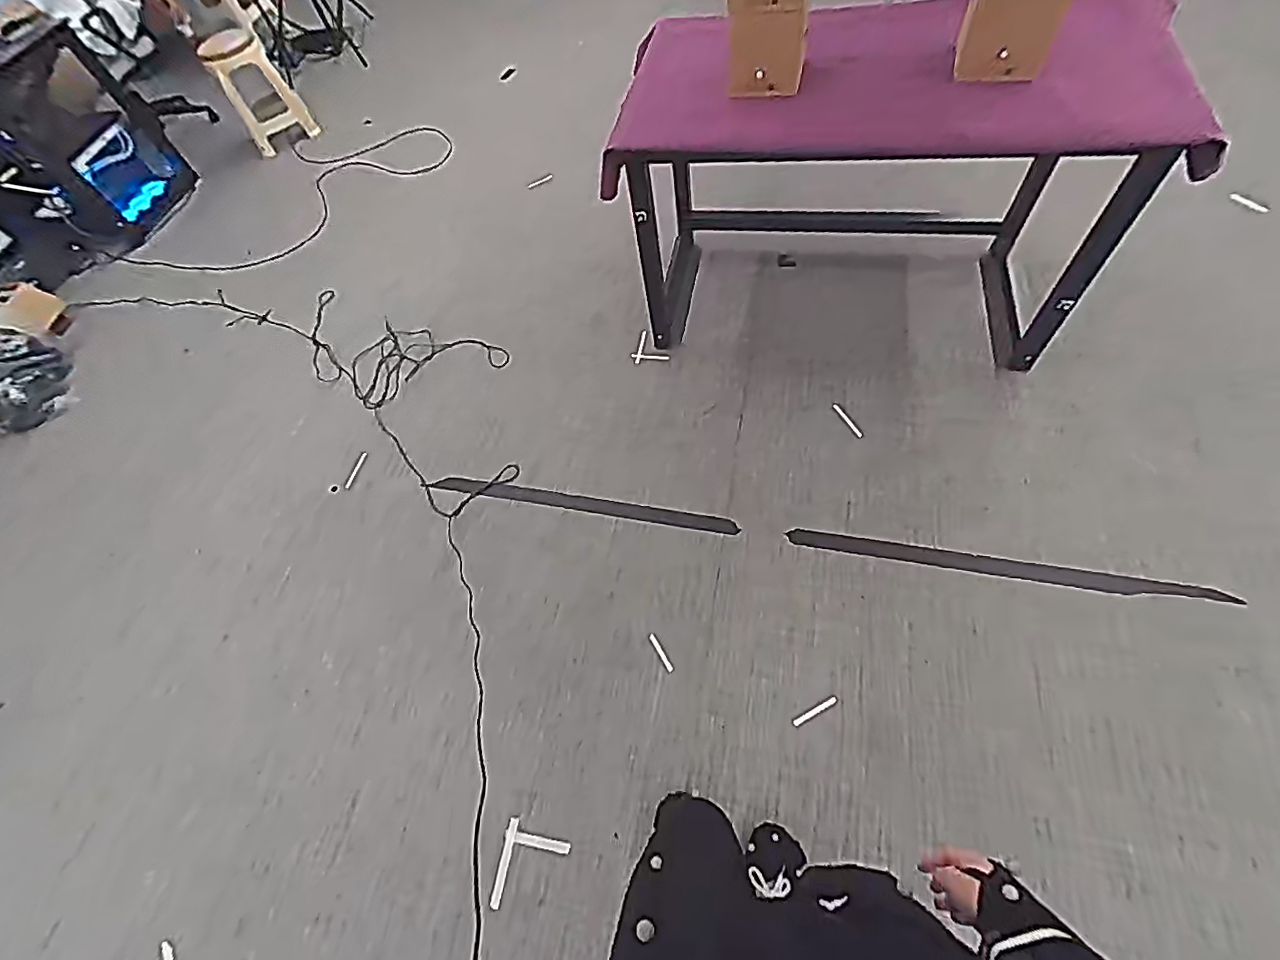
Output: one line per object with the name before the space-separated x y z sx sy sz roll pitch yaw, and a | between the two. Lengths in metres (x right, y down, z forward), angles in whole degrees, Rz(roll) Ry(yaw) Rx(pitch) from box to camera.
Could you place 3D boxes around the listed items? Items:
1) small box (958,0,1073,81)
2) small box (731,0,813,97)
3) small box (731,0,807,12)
small box | 0.801 -0.994 1.158 0.168 0.176 0.179 12 63 17
small box | 0.306 -1.033 1.264 0.168 0.176 0.179 9 63 14
small box | 0.281 -1.113 1.123 0.168 0.176 0.179 9 62 15
